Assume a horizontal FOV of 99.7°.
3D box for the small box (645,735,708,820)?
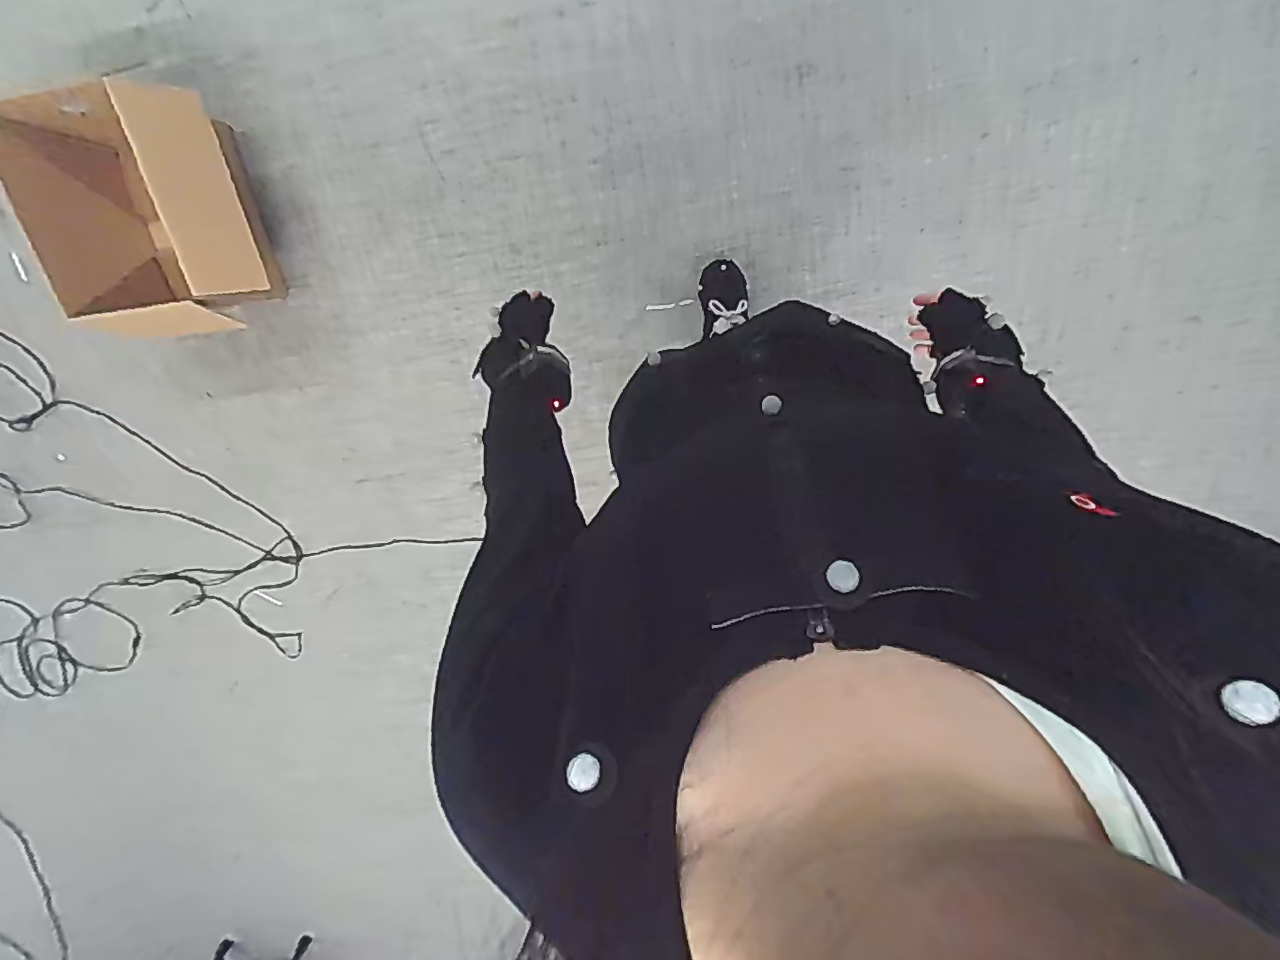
[{"bbox_3d":[0.118,0.948,1.731,0.179,0.176,0.168,-9,107,6],"label":"small box"}]
